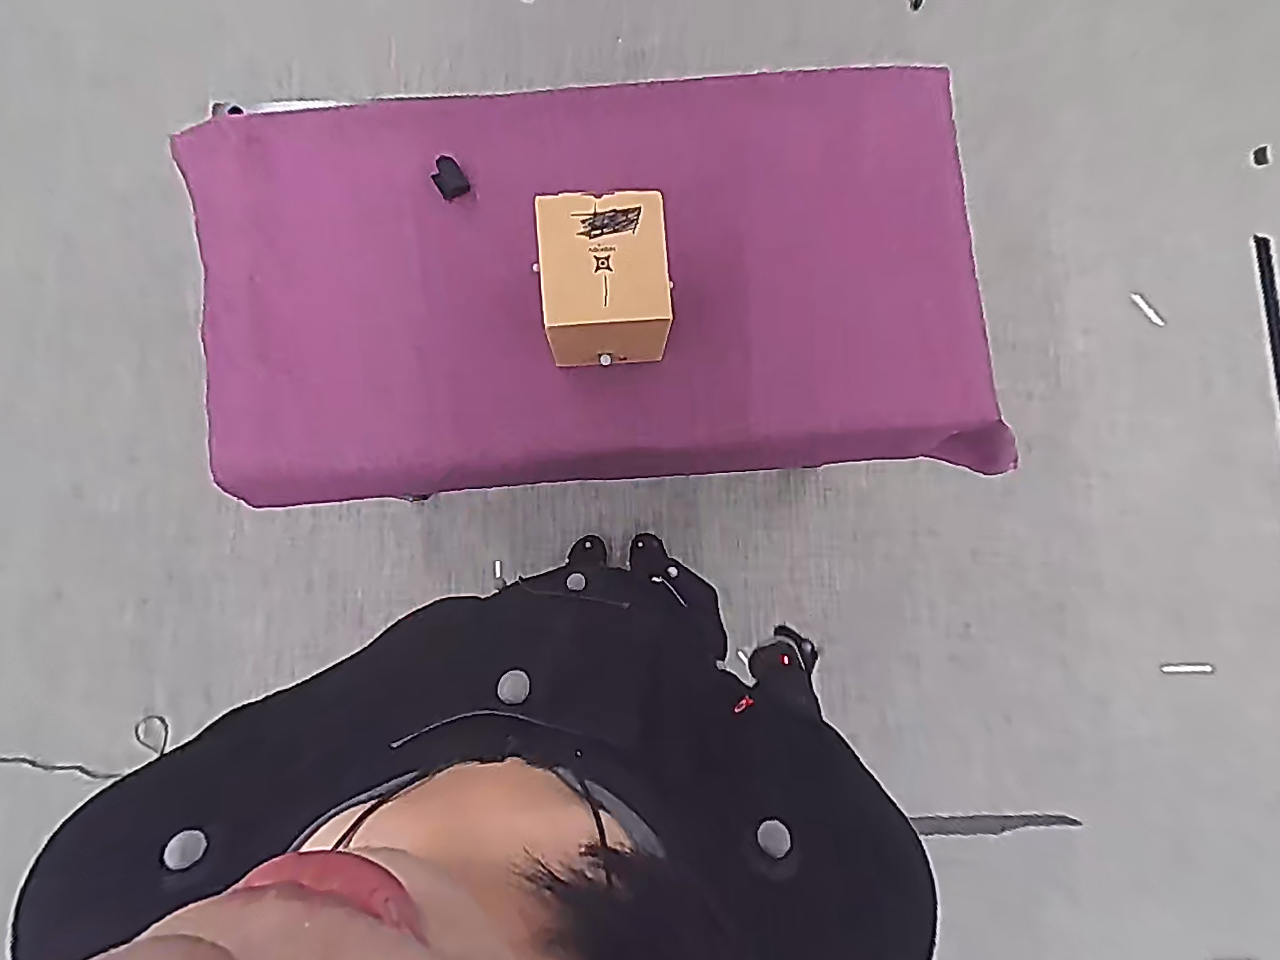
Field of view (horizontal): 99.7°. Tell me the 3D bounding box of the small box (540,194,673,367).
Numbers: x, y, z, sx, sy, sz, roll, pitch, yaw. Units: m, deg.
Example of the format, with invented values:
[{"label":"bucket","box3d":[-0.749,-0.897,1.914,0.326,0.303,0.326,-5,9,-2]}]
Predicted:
[{"label":"small box","box3d":[-0.049,-0.275,0.771,0.168,0.176,0.179,-4,84,-3]}]
